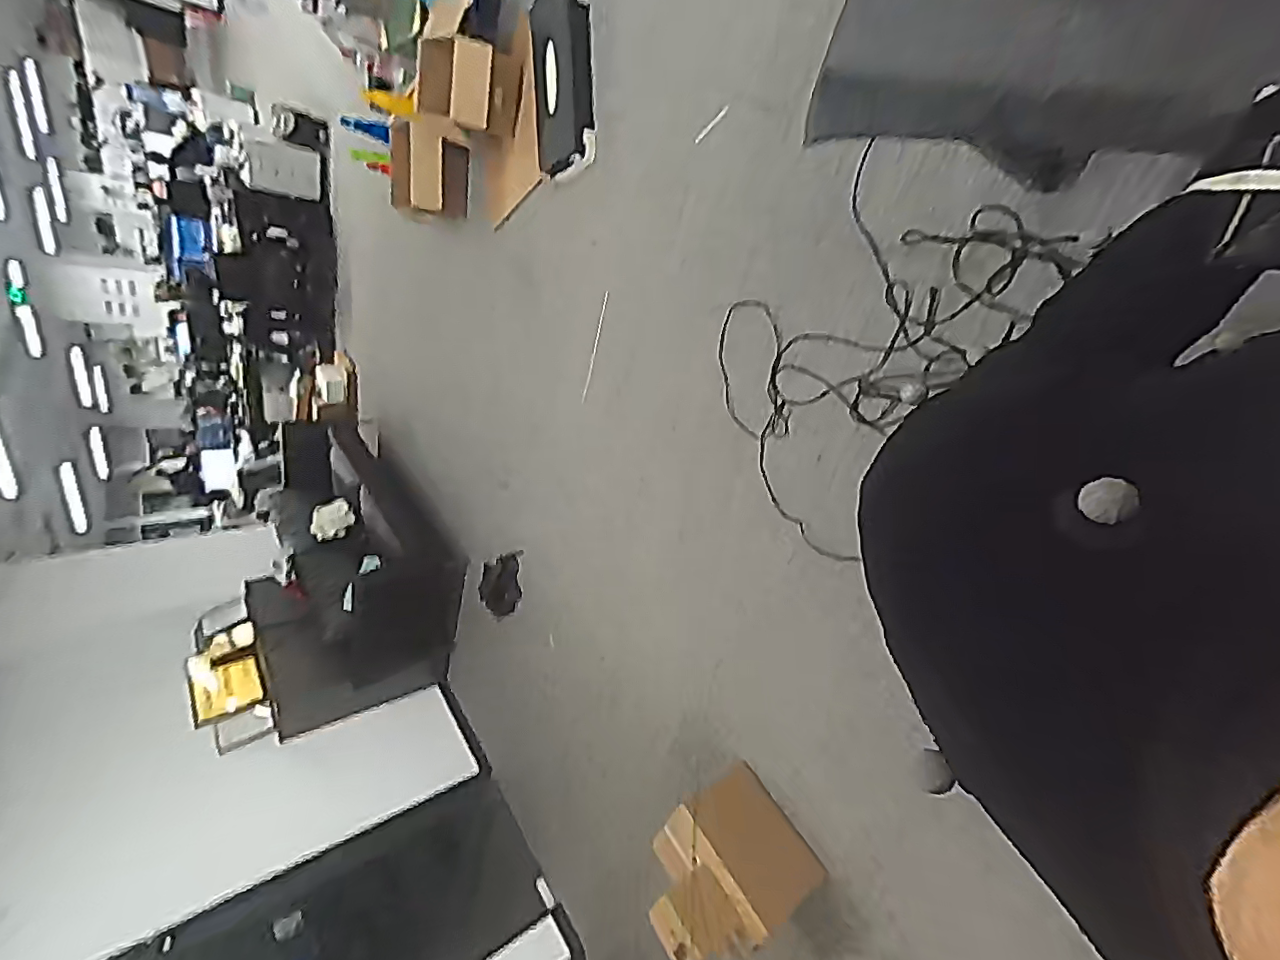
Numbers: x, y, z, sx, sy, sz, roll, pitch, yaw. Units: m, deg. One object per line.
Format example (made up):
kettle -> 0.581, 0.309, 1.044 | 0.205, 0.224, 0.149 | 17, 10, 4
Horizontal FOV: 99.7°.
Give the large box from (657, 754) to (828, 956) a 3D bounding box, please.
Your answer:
large box -> 0.332, 1.226, 1.804 | 0.408, 0.320, 0.320 | 47, 129, 35
